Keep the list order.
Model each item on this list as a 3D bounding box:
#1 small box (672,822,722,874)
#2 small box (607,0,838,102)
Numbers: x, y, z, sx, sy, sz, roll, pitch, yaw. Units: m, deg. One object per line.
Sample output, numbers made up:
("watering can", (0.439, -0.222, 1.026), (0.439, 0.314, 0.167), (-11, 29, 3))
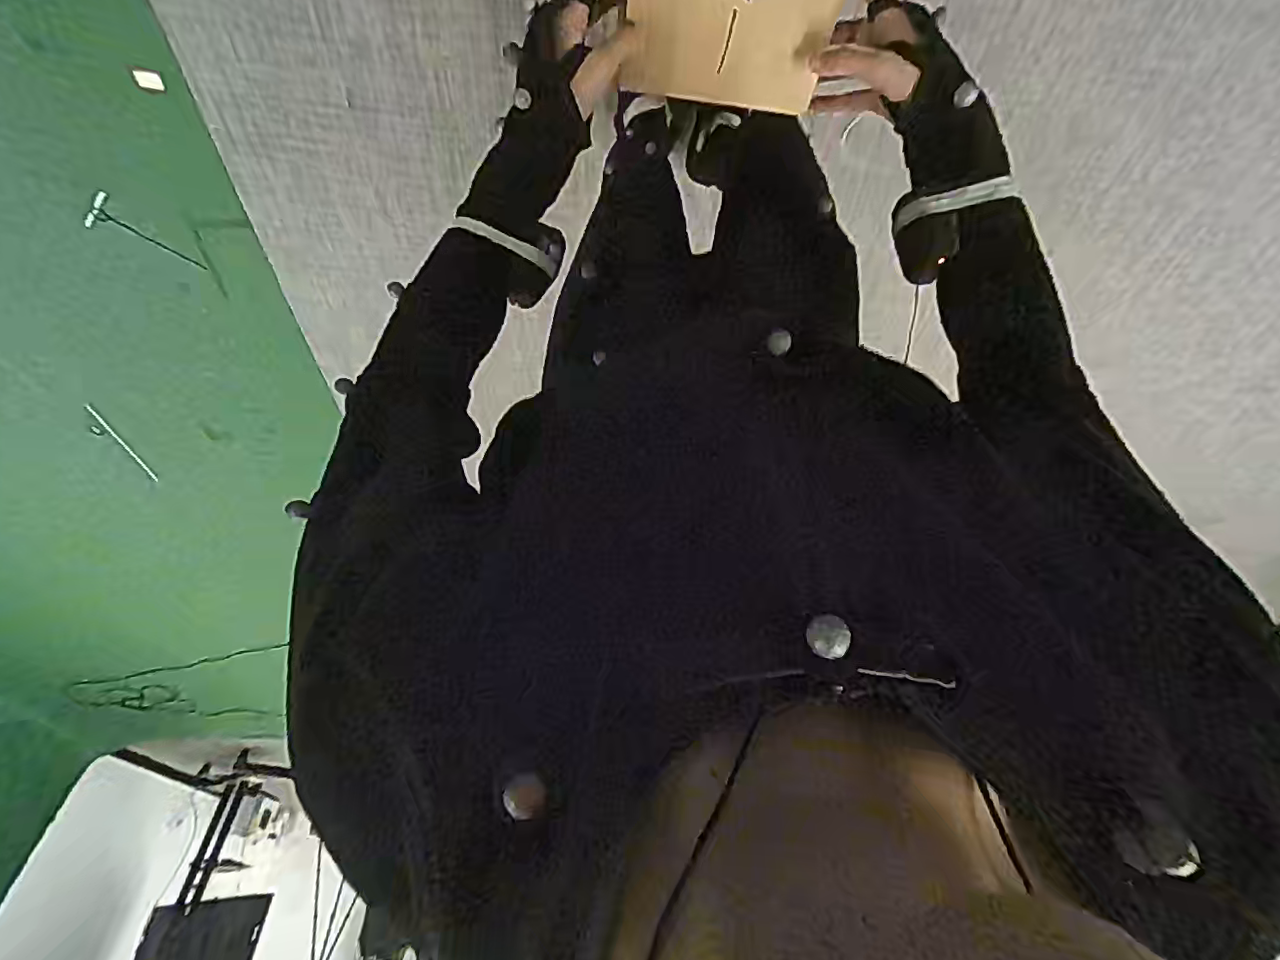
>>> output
("small box", (0.233, 1.530, 2.249), (0.179, 0.176, 0.168), (3, 139, -4))
("small box", (0.065, -0.440, 0.434), (0.168, 0.176, 0.179), (1, 139, -10))
